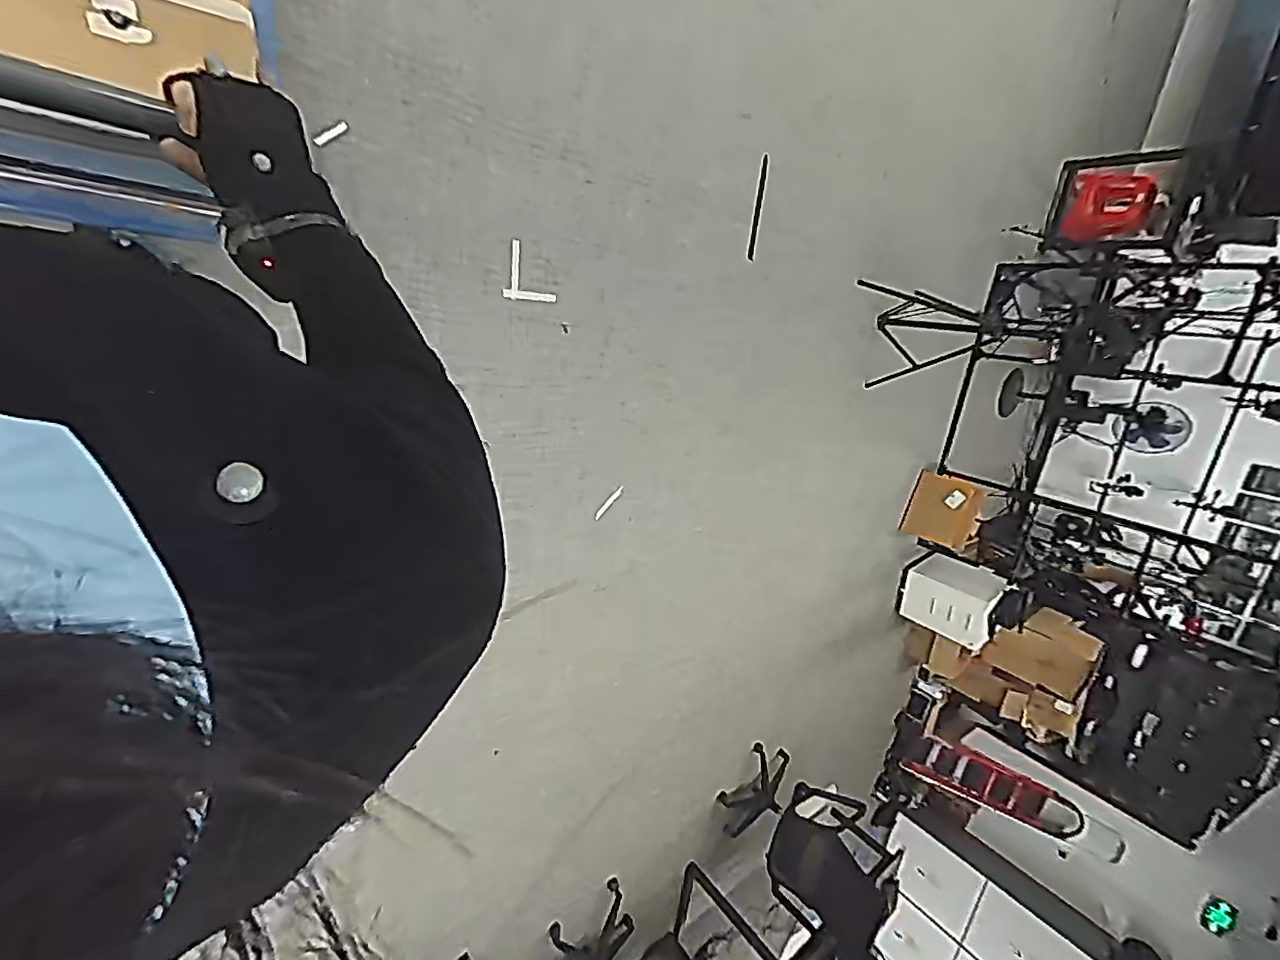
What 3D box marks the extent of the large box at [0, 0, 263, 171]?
[{"bbox_3d":[-0.780,-0.633,0.712,0.408,0.320,0.320,-11,115,-39],"label":"large box"}]
